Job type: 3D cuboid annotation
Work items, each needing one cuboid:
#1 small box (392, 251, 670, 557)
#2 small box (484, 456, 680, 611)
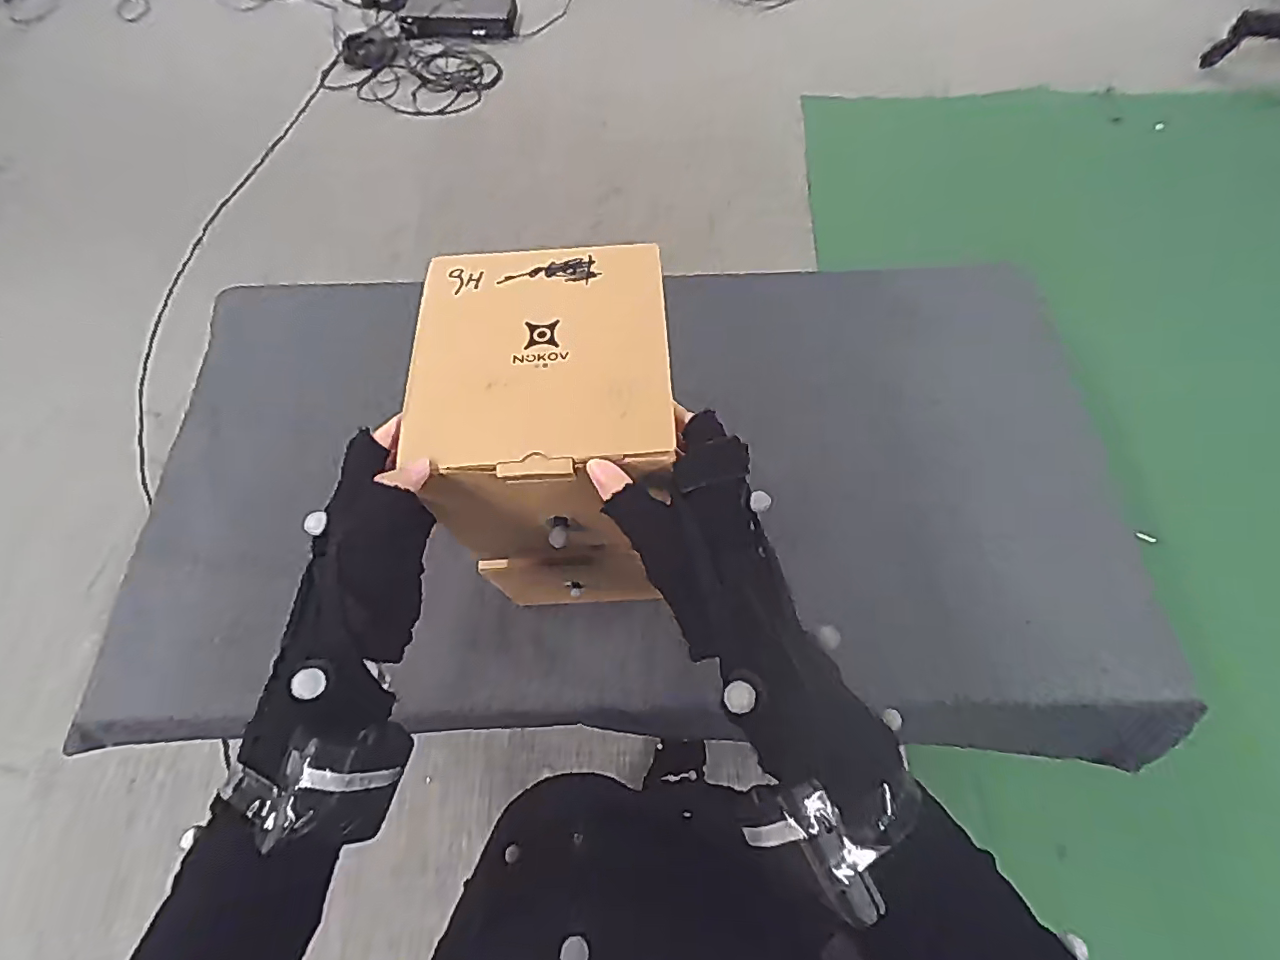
[{"bbox_3d":[-0.063,-0.043,0.417,0.168,0.176,0.179,-3,65,1],"label":"small box"},{"bbox_3d":[-0.058,0.040,0.581,0.179,0.176,0.168,-5,67,-2],"label":"small box"}]
